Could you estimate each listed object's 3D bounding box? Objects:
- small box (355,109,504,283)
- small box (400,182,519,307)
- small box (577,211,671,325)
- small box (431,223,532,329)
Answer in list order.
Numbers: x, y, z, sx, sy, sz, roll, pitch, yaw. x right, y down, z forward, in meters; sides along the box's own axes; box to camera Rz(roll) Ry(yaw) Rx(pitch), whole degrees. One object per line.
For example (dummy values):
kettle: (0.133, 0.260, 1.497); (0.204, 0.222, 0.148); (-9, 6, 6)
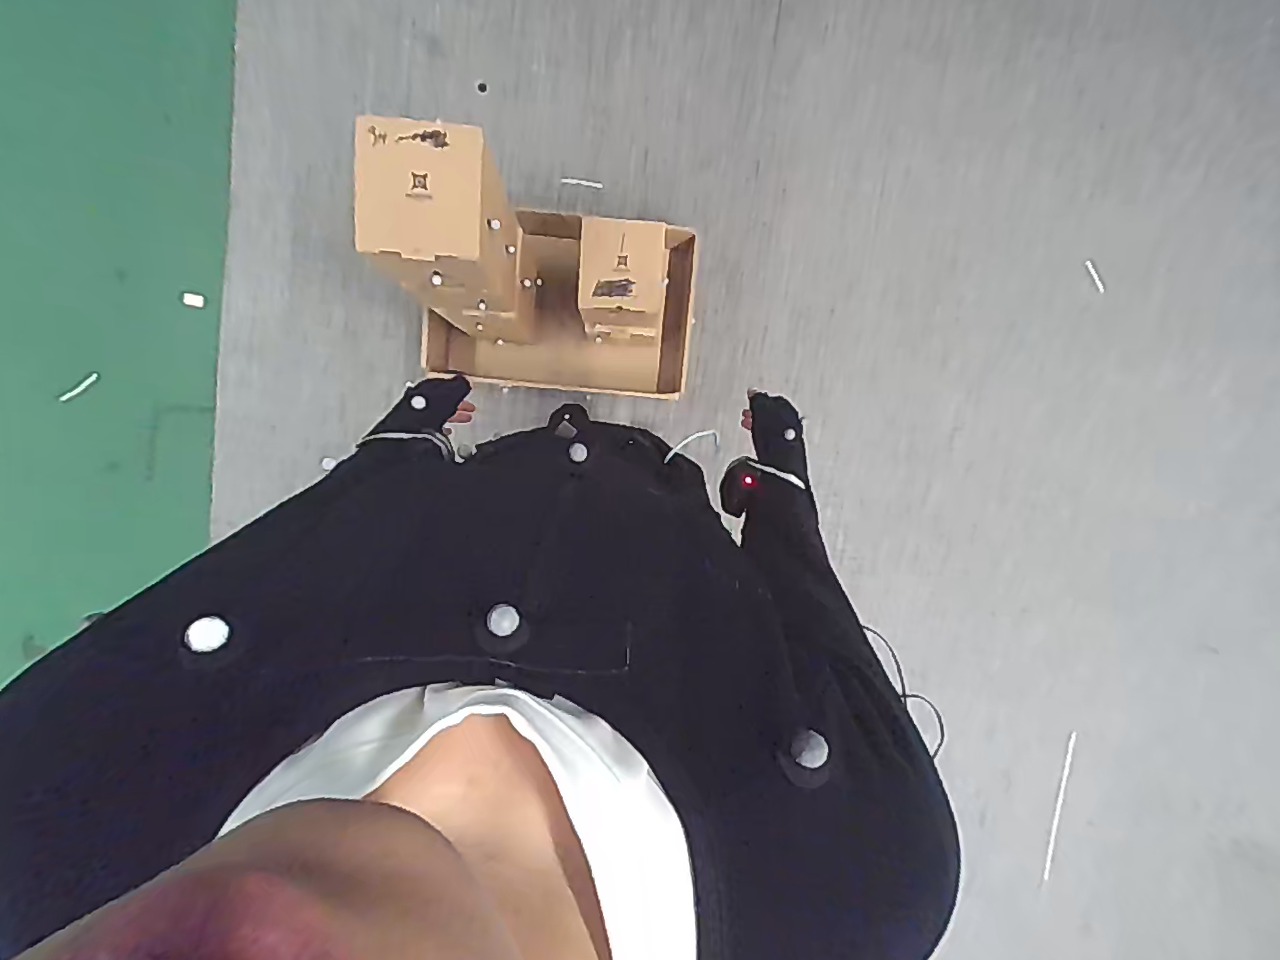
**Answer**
small box: (-0.297, -0.399, 0.793); (0.168, 0.176, 0.179); (3, 97, -5)
small box: (-0.310, -0.413, 0.956); (0.168, 0.176, 0.179); (3, 96, -5)
small box: (-0.034, -0.429, 1.126); (0.168, 0.176, 0.179); (7, 96, -4)
small box: (-0.319, -0.424, 1.119); (0.168, 0.176, 0.179); (5, 96, -5)
